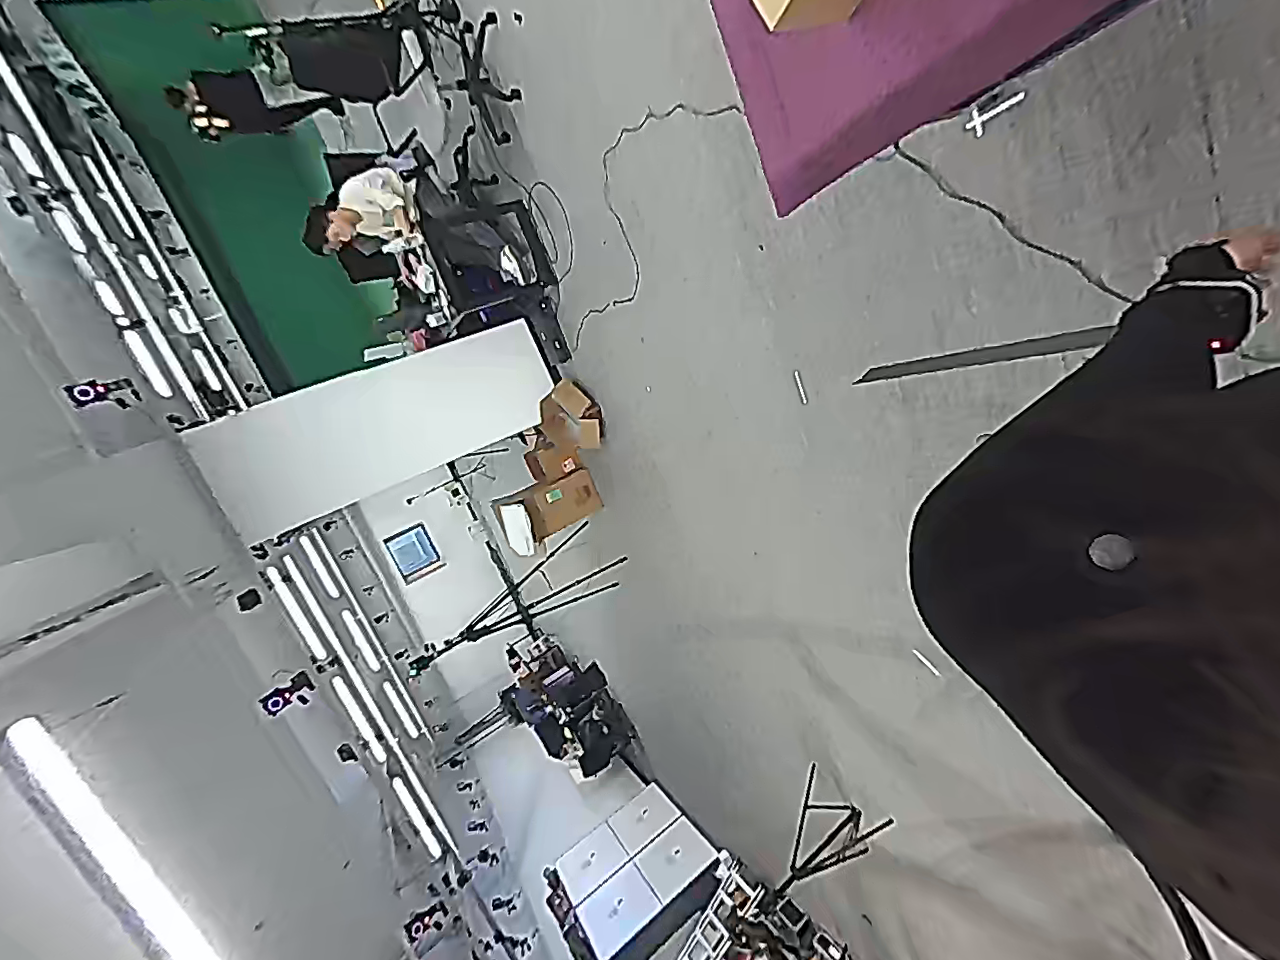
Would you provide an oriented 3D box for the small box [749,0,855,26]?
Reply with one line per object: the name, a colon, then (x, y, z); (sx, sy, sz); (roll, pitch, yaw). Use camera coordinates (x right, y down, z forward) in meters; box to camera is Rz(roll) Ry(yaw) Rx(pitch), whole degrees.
small box: (0.230, -0.757, 0.716); (0.179, 0.176, 0.168); (61, 157, 0)
